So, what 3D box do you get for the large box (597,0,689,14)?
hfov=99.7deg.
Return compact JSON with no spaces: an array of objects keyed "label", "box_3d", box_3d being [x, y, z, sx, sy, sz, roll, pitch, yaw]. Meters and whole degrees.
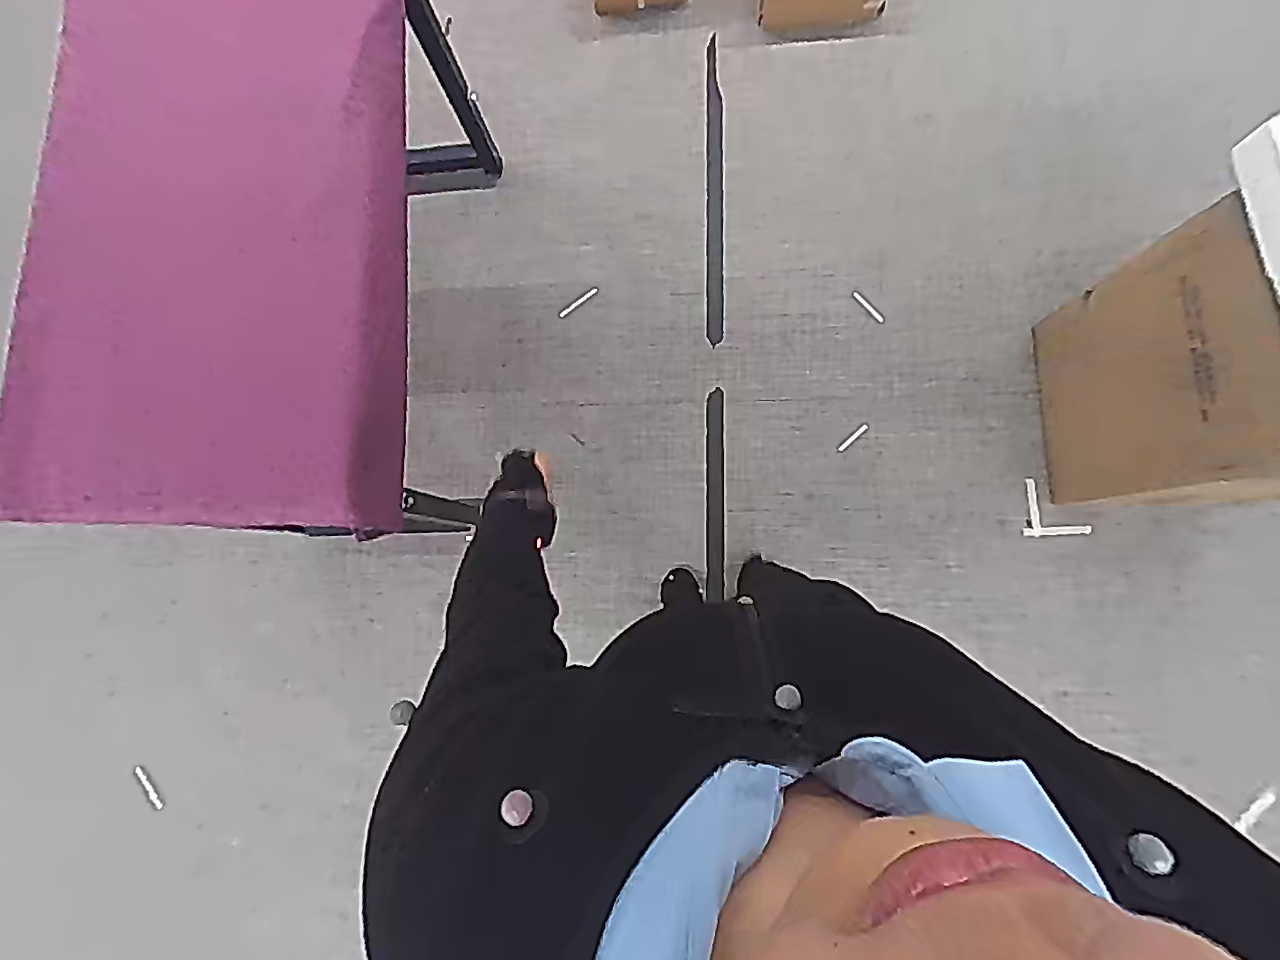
[{"label":"large box","box_3d":[-0.011,-1.765,1.656,0.320,0.320,0.408,-5,82,4]}]
